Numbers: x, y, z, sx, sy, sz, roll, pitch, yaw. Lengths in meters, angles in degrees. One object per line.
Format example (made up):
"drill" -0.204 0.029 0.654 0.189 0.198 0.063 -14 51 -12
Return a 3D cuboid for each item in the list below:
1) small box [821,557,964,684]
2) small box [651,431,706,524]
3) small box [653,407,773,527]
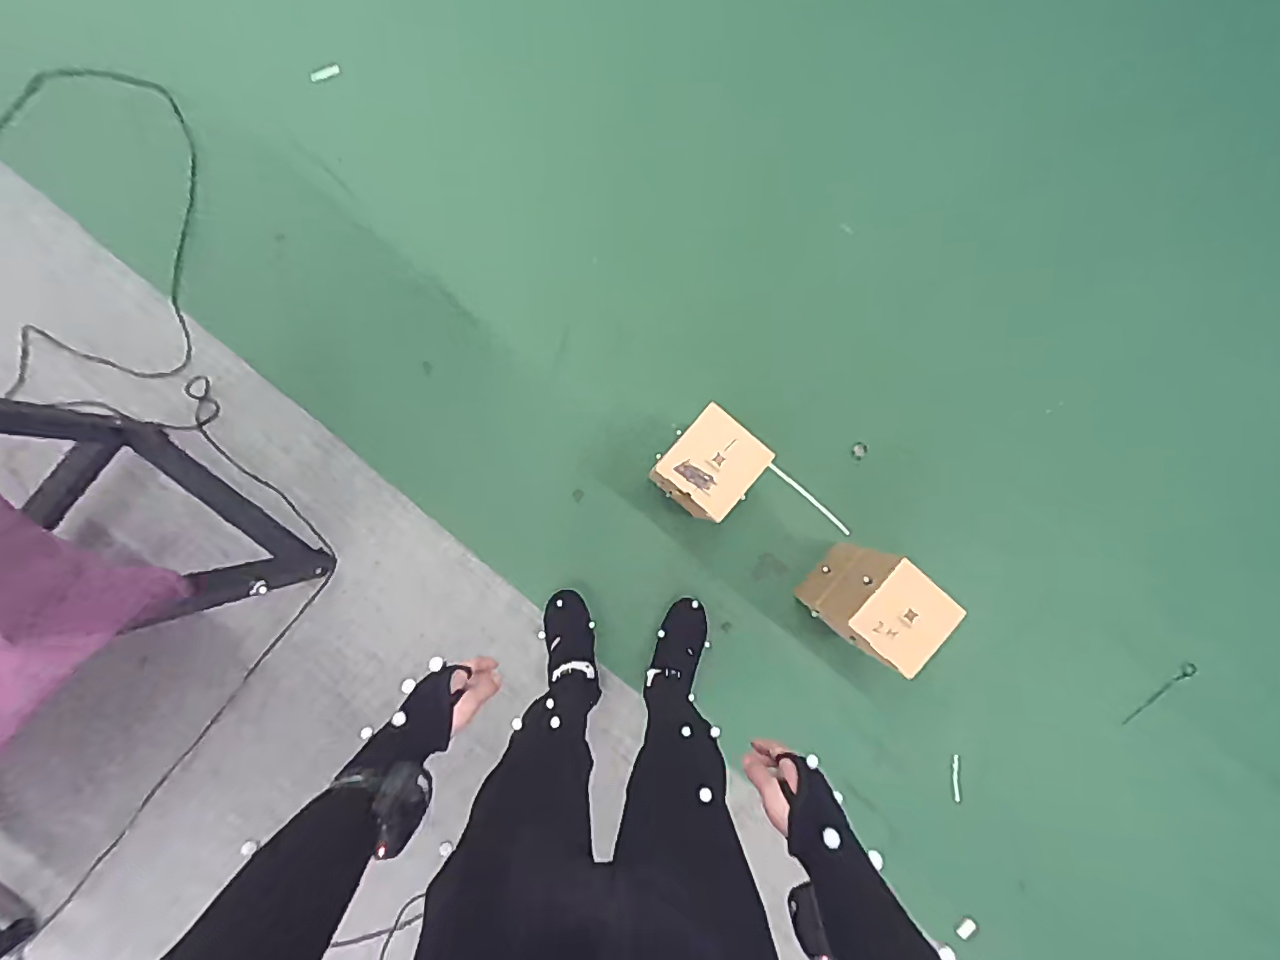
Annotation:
"small box" 0.509 0.278 1.120 0.168 0.176 0.179 42 87 0
"small box" 0.137 -0.015 1.286 0.168 0.176 0.179 40 88 0
"small box" 0.141 -0.022 1.122 0.168 0.176 0.179 41 86 0
